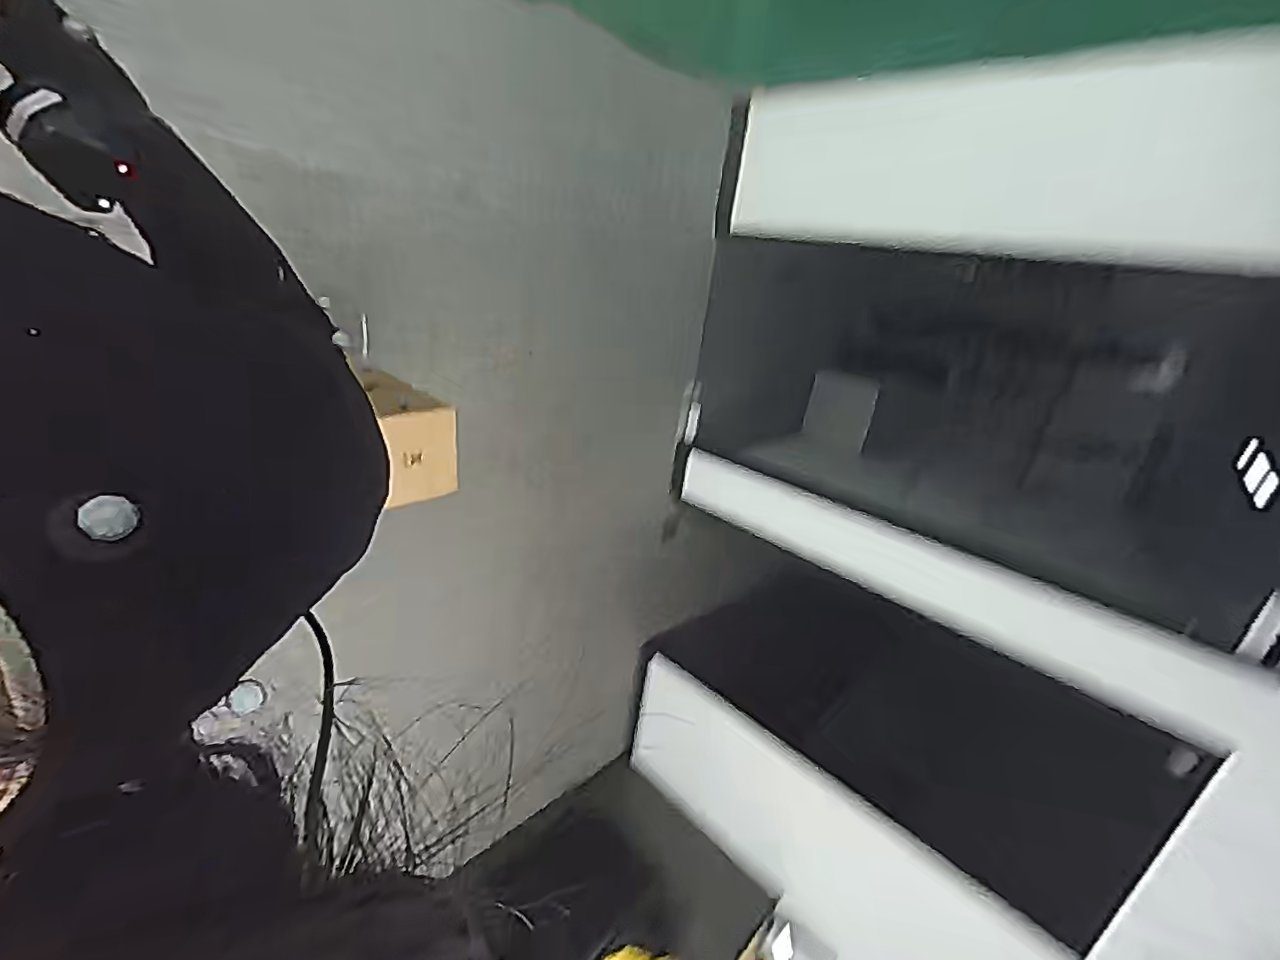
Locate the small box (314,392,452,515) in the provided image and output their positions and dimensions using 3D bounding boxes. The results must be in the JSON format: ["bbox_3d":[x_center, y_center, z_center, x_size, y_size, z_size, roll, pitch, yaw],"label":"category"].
[{"bbox_3d":[-0.465,-0.059,0.986,0.179,0.176,0.168,-16,121,-45],"label":"small box"}]
